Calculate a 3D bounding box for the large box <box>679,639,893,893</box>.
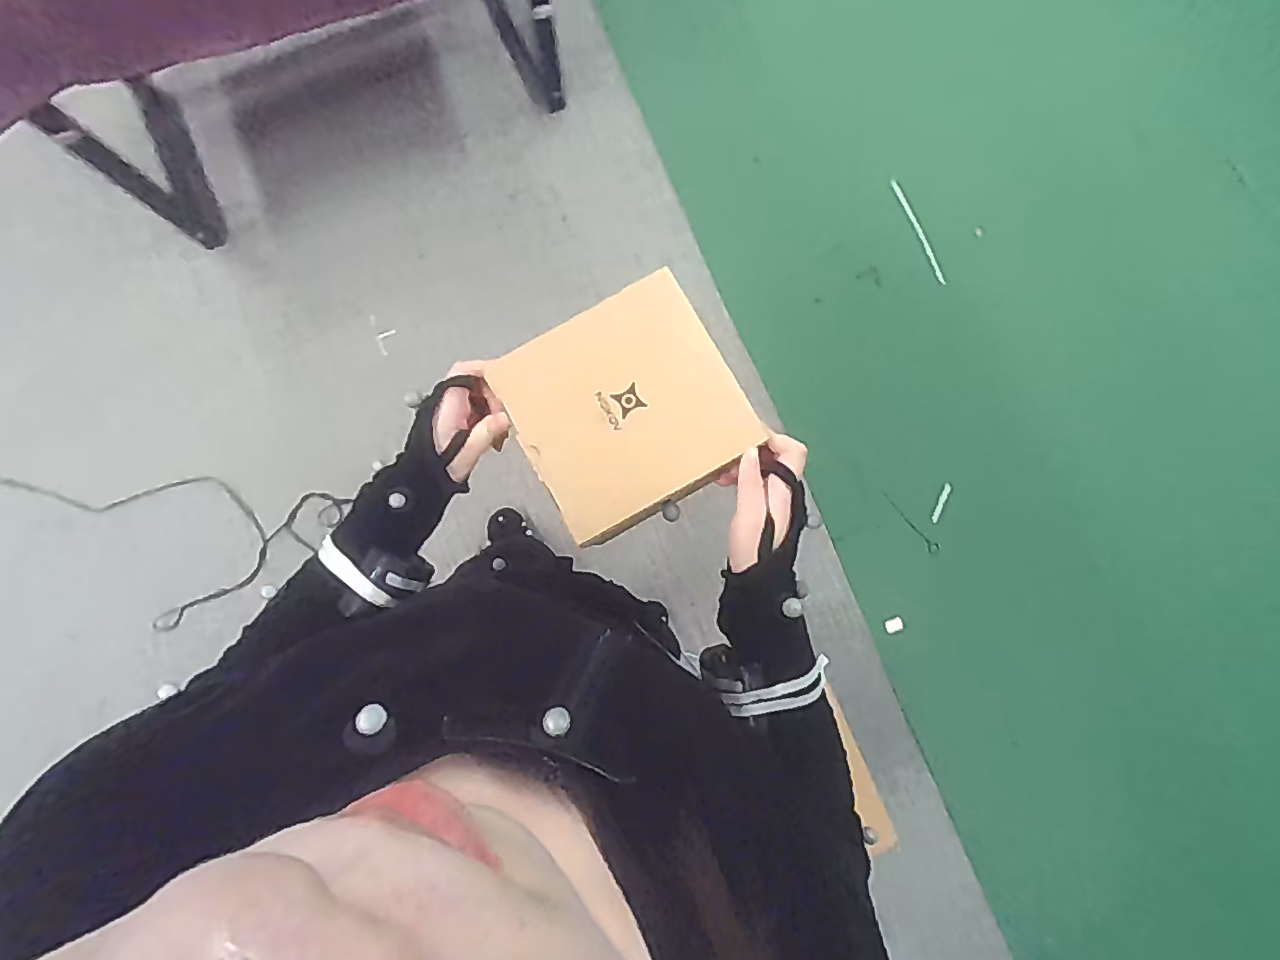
[{"bbox_3d":[0.326,0.658,1.325,0.320,0.320,0.408,-22,85,-5],"label":"large box"}]
